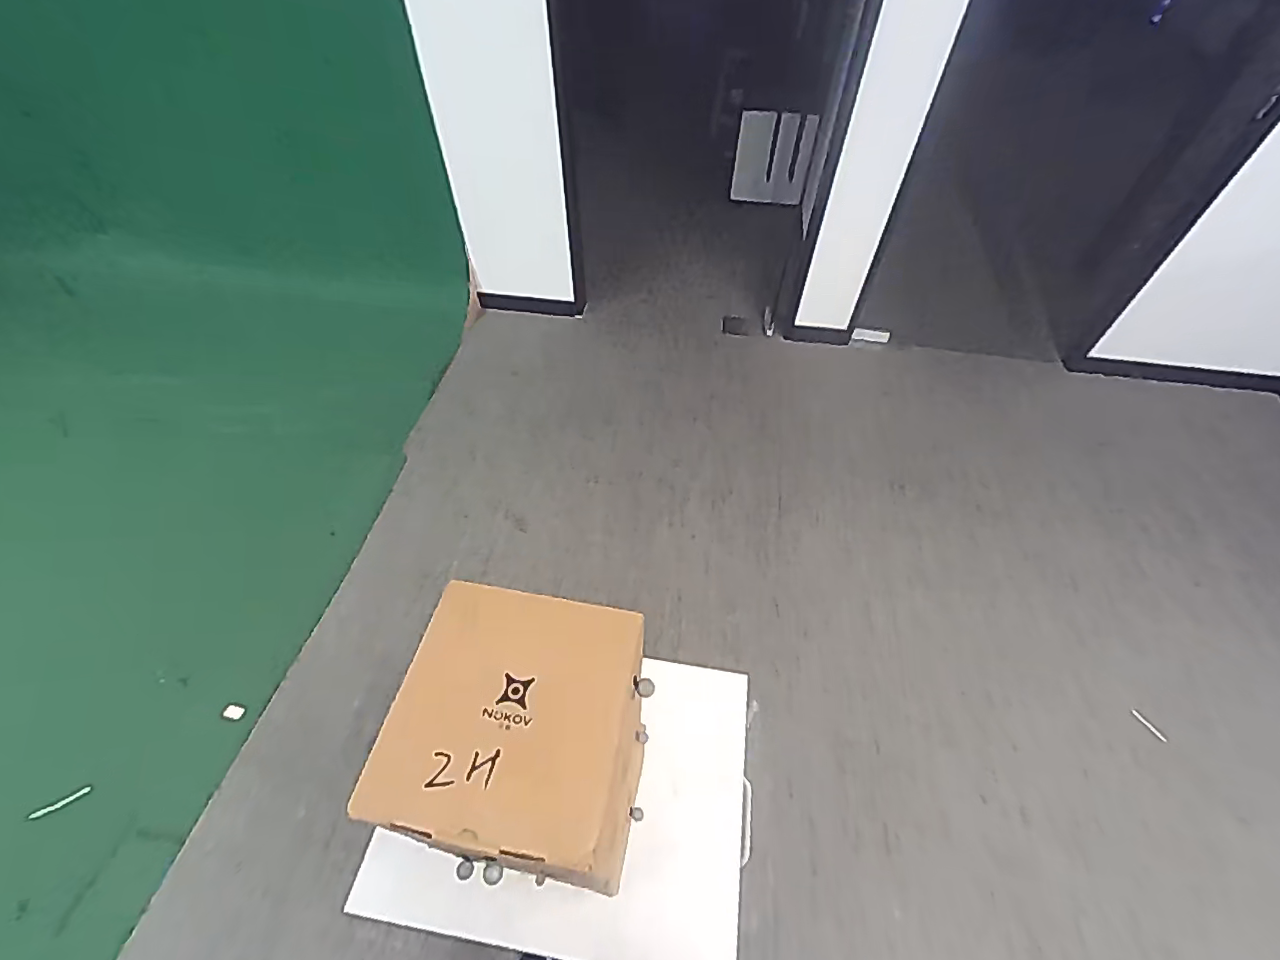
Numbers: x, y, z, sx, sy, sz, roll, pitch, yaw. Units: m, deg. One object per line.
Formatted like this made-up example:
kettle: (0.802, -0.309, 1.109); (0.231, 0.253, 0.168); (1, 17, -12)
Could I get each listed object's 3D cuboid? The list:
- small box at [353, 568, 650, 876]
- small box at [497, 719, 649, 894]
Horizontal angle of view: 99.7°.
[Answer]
small box: (-0.090, 0.200, 0.446); (0.168, 0.176, 0.179); (8, 51, 6)
small box: (-0.088, 0.408, 0.702); (0.168, 0.176, 0.179); (10, 51, 7)
